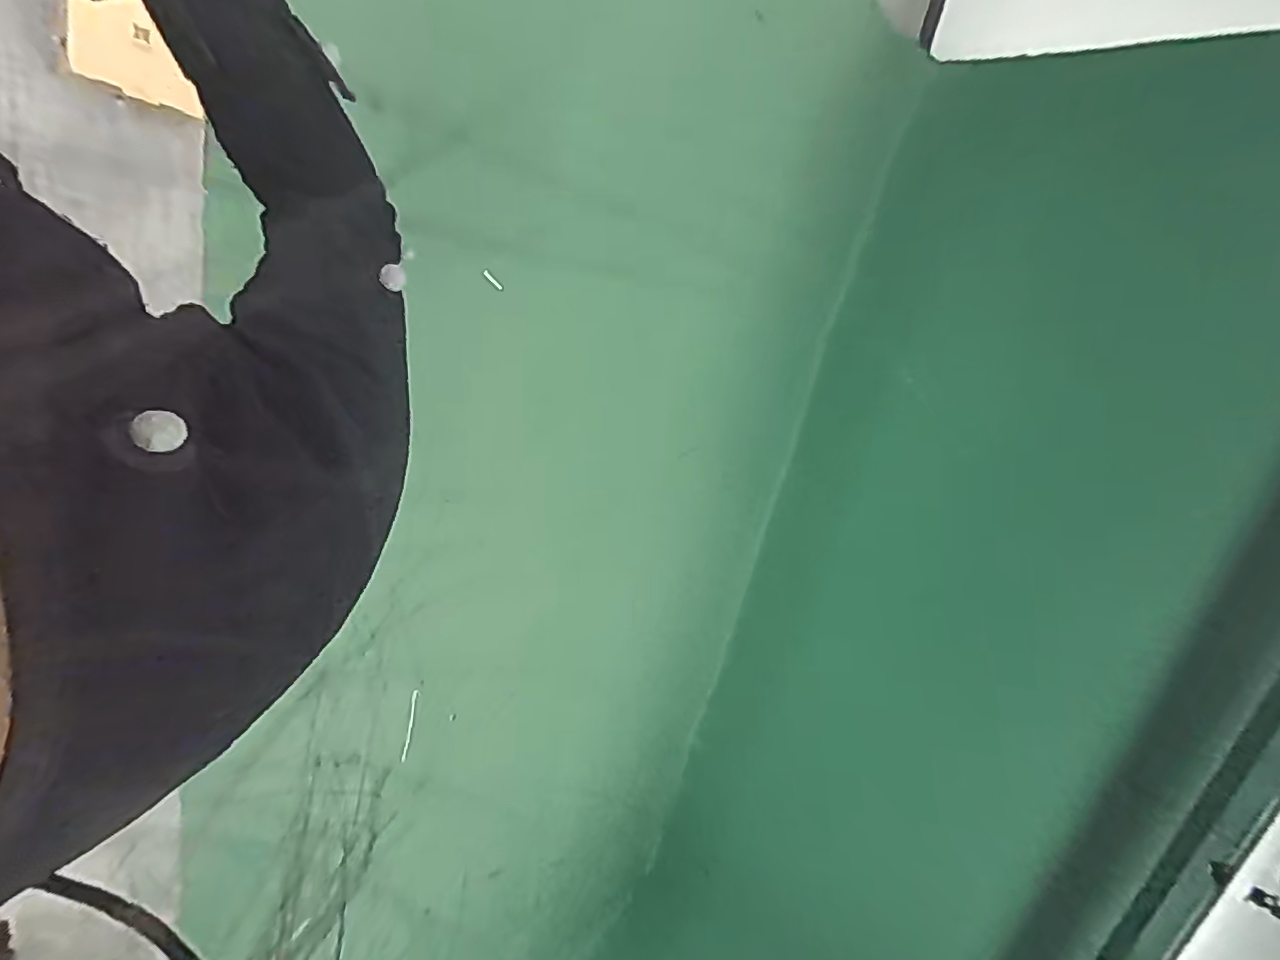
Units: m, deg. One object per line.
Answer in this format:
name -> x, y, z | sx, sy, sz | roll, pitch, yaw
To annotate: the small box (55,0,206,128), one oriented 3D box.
small box -> -0.860, -0.726, 0.913 | 0.168, 0.176, 0.179 | -4, 113, -49
